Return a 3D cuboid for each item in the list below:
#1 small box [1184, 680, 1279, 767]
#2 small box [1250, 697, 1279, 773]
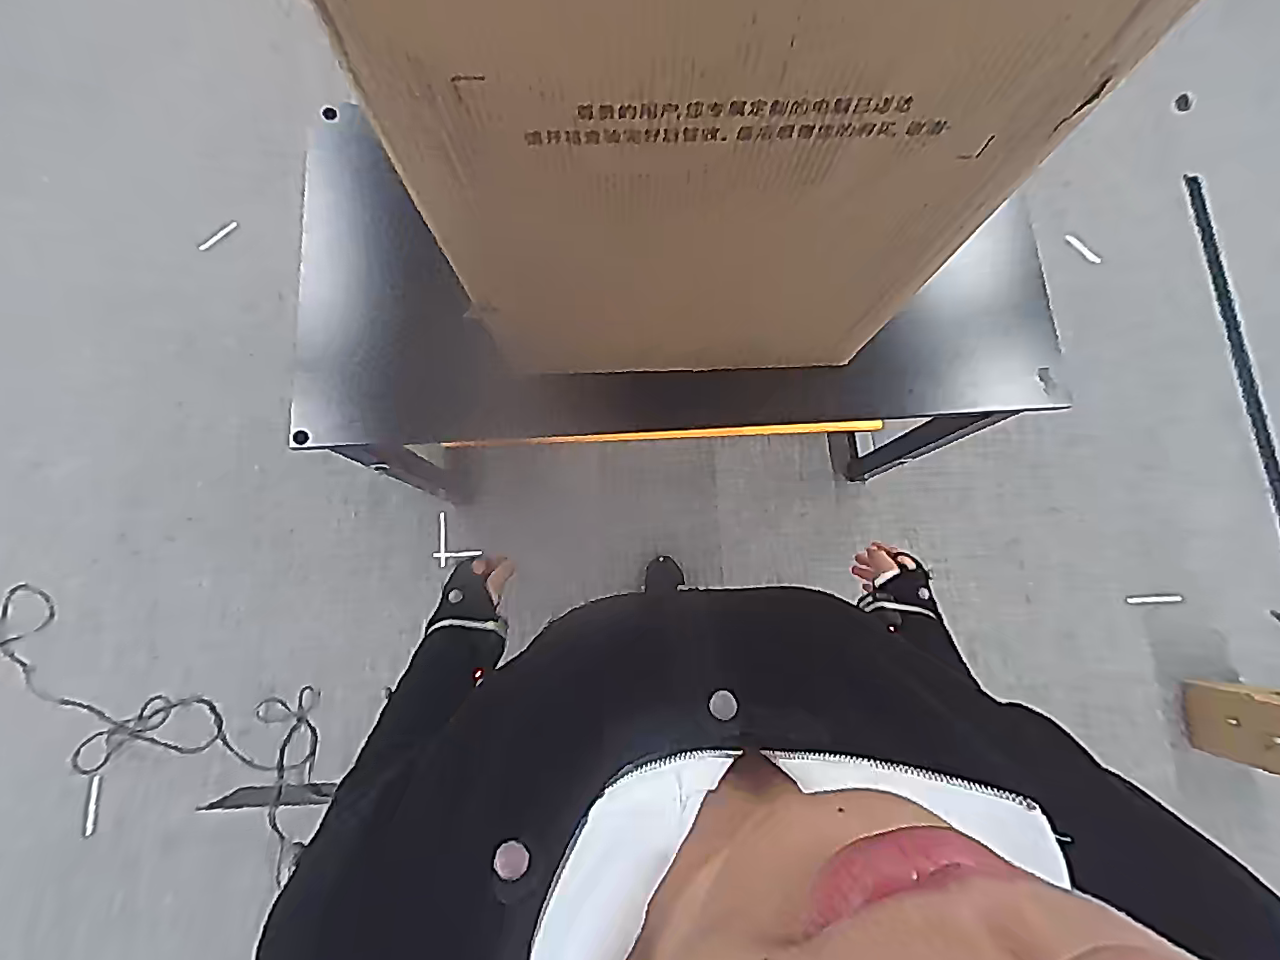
[{"bbox_3d":[1.559,0.617,1.386,0.168,0.176,0.179,1,80,0],"label":"small box"},{"bbox_3d":[1.567,0.594,1.223,0.179,0.176,0.168,1,80,0],"label":"small box"}]
